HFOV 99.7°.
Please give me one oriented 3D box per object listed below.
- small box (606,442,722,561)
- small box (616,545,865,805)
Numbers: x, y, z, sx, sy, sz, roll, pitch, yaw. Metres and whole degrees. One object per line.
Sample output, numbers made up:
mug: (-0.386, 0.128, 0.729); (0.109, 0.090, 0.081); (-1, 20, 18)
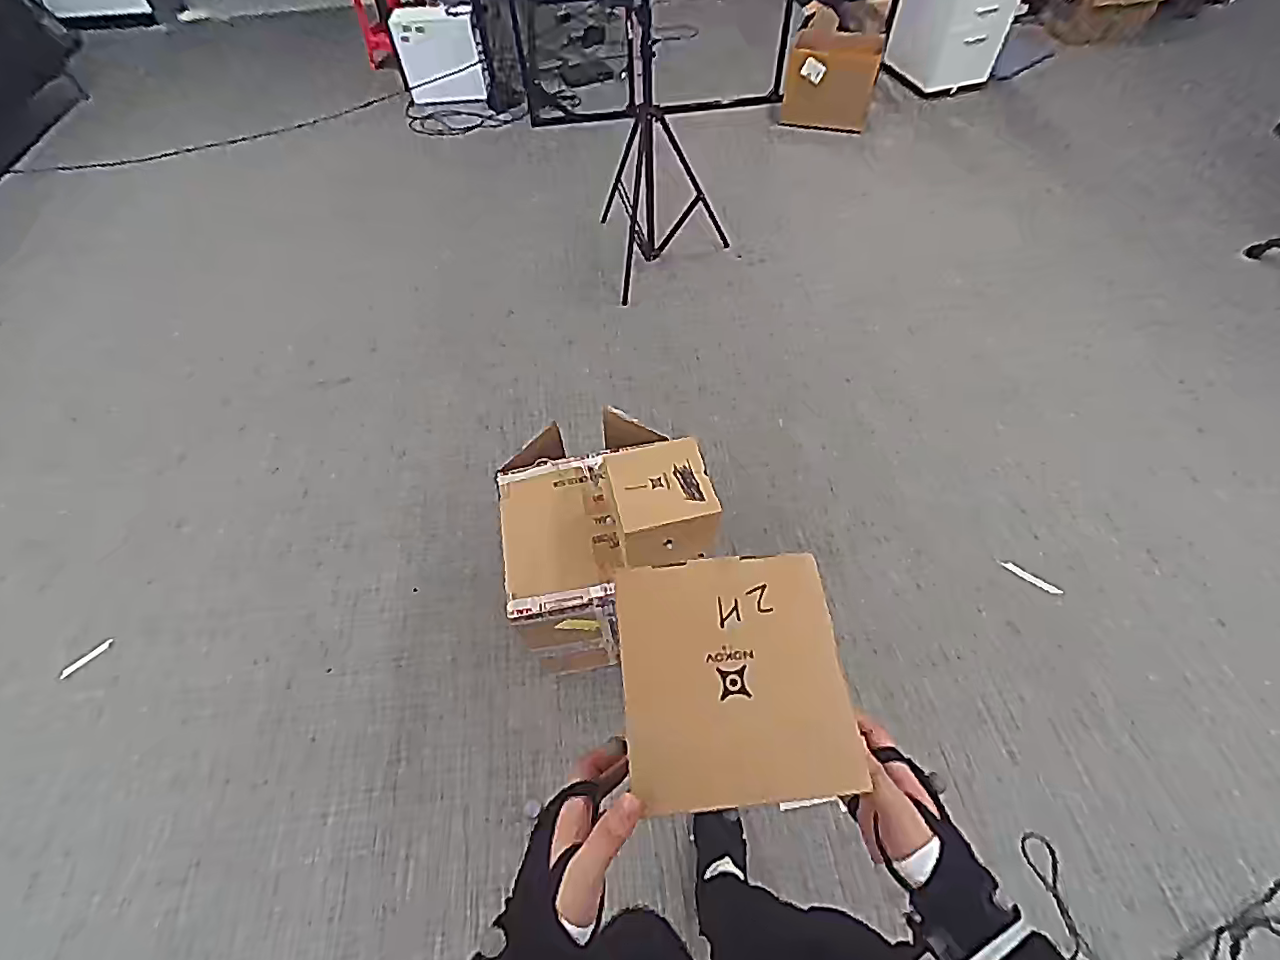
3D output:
small box: (0.039, 0.054, 1.021); (0.179, 0.176, 0.168); (-12, 59, -7)
small box: (0.069, 0.173, 0.478); (0.168, 0.176, 0.179); (-5, 62, -3)
